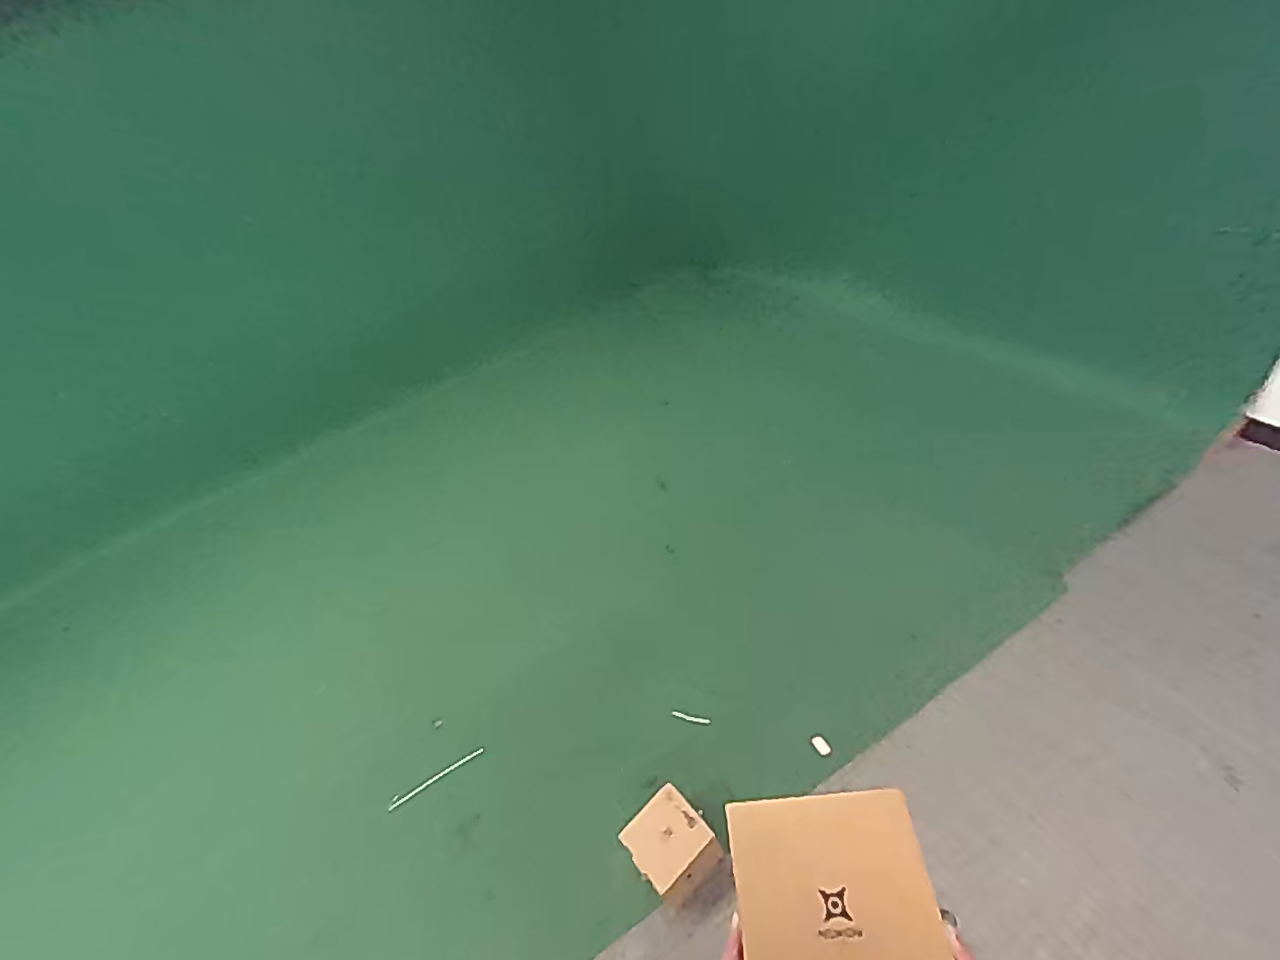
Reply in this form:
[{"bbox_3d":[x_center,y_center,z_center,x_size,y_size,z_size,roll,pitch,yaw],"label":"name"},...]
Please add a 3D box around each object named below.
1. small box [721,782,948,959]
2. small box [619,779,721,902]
[{"bbox_3d":[0.175,0.409,0.514,0.168,0.176,0.179,-10,49,8],"label":"small box"},{"bbox_3d":[0.081,0.896,1.341,0.179,0.176,0.168,-38,45,-20],"label":"small box"}]
